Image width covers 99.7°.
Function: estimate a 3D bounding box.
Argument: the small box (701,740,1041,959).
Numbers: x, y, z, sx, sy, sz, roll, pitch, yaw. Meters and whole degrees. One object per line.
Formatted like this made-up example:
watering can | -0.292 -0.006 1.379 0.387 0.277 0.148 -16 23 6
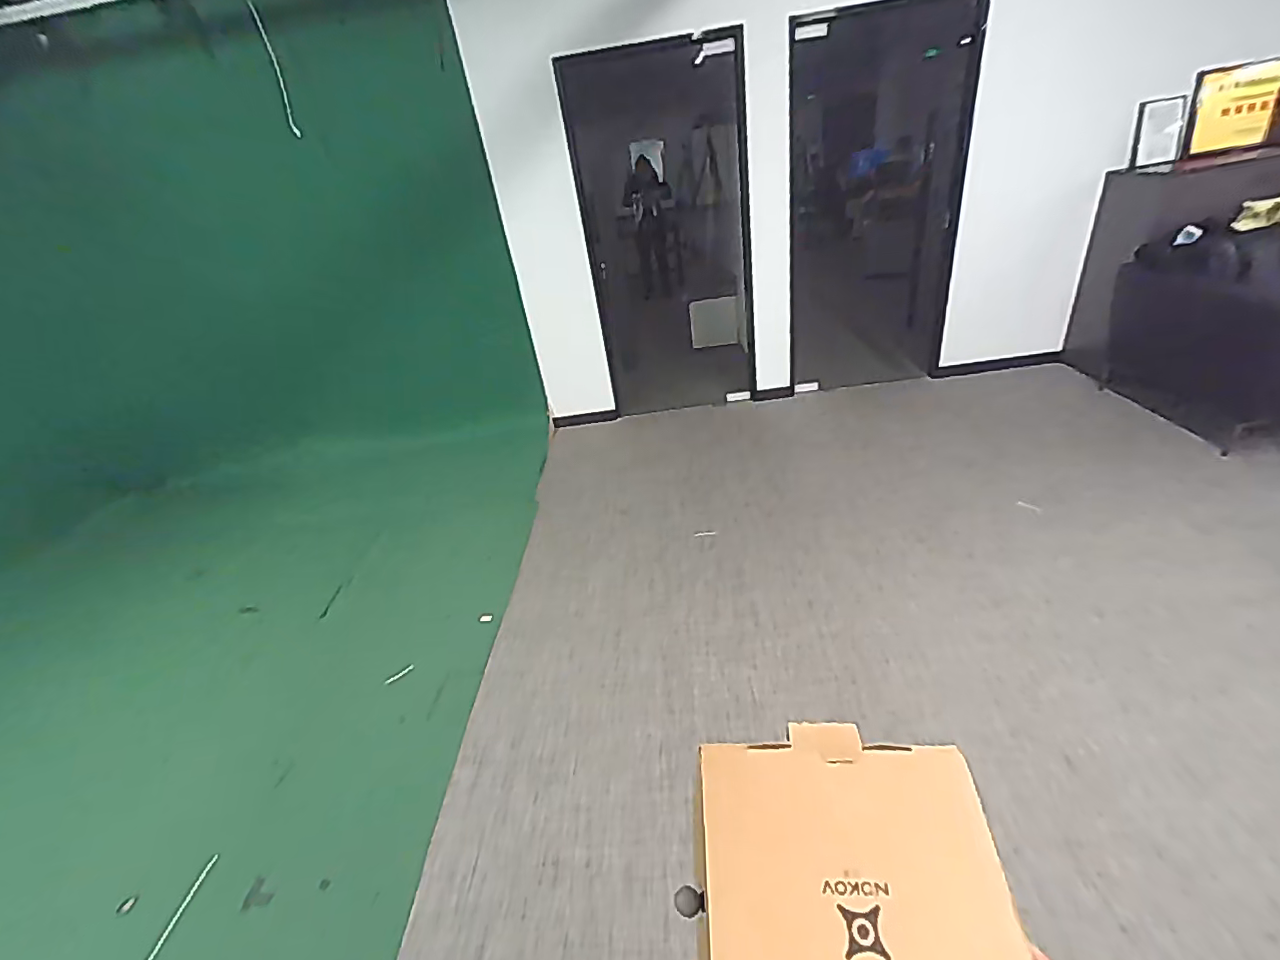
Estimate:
small box | 0.127 0.285 0.348 0.168 0.176 0.179 -2 48 3
